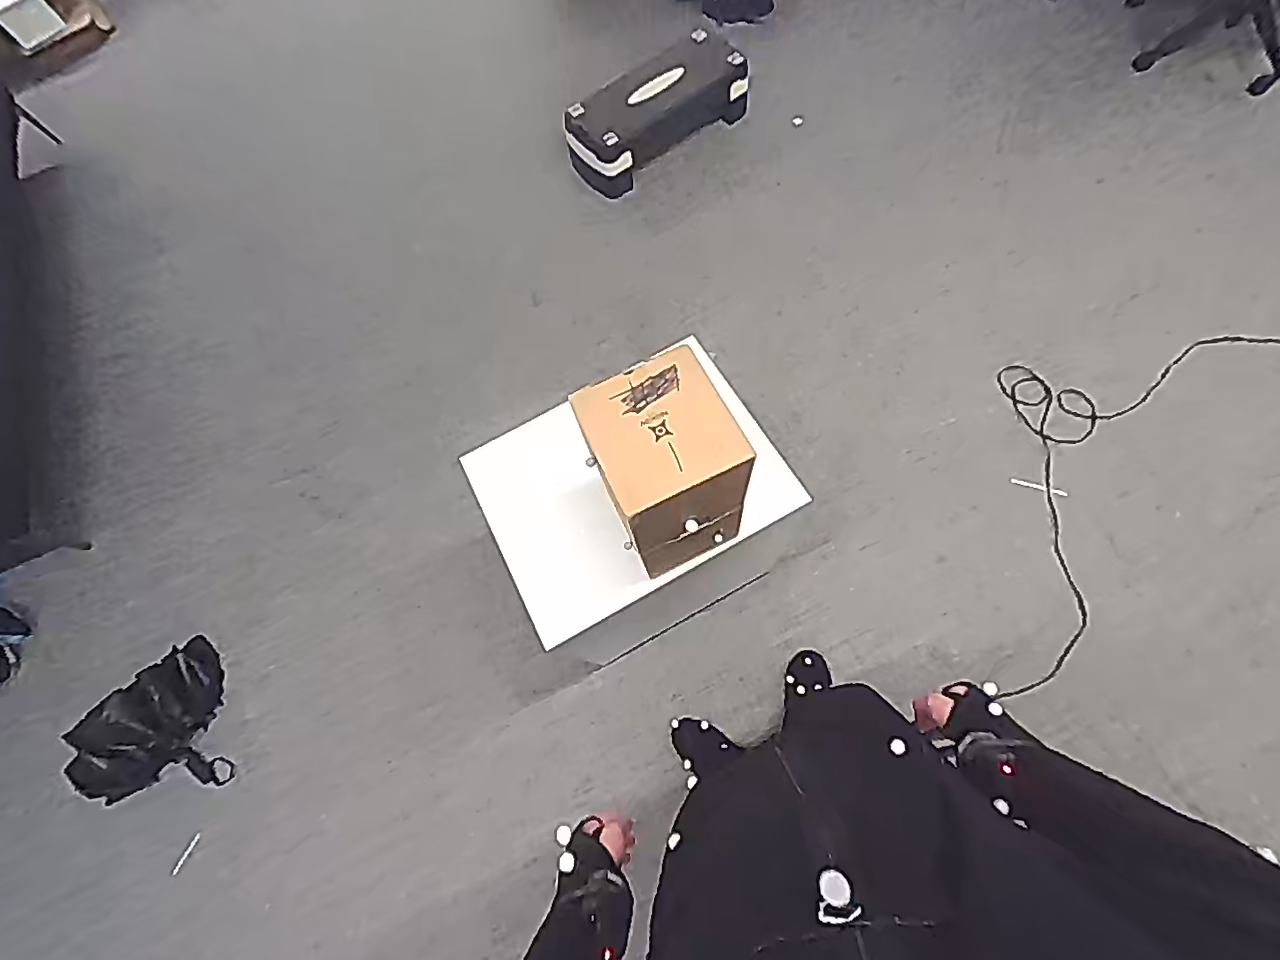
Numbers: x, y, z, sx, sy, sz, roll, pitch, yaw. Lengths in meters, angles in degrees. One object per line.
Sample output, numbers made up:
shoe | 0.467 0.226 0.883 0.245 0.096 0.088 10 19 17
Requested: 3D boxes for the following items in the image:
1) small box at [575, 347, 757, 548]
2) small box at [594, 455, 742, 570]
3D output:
small box | 0.031 -0.034 0.709 0.168 0.176 0.179 -25 69 -4
small box | 0.047 0.029 0.860 0.168 0.176 0.179 -25 66 -5
